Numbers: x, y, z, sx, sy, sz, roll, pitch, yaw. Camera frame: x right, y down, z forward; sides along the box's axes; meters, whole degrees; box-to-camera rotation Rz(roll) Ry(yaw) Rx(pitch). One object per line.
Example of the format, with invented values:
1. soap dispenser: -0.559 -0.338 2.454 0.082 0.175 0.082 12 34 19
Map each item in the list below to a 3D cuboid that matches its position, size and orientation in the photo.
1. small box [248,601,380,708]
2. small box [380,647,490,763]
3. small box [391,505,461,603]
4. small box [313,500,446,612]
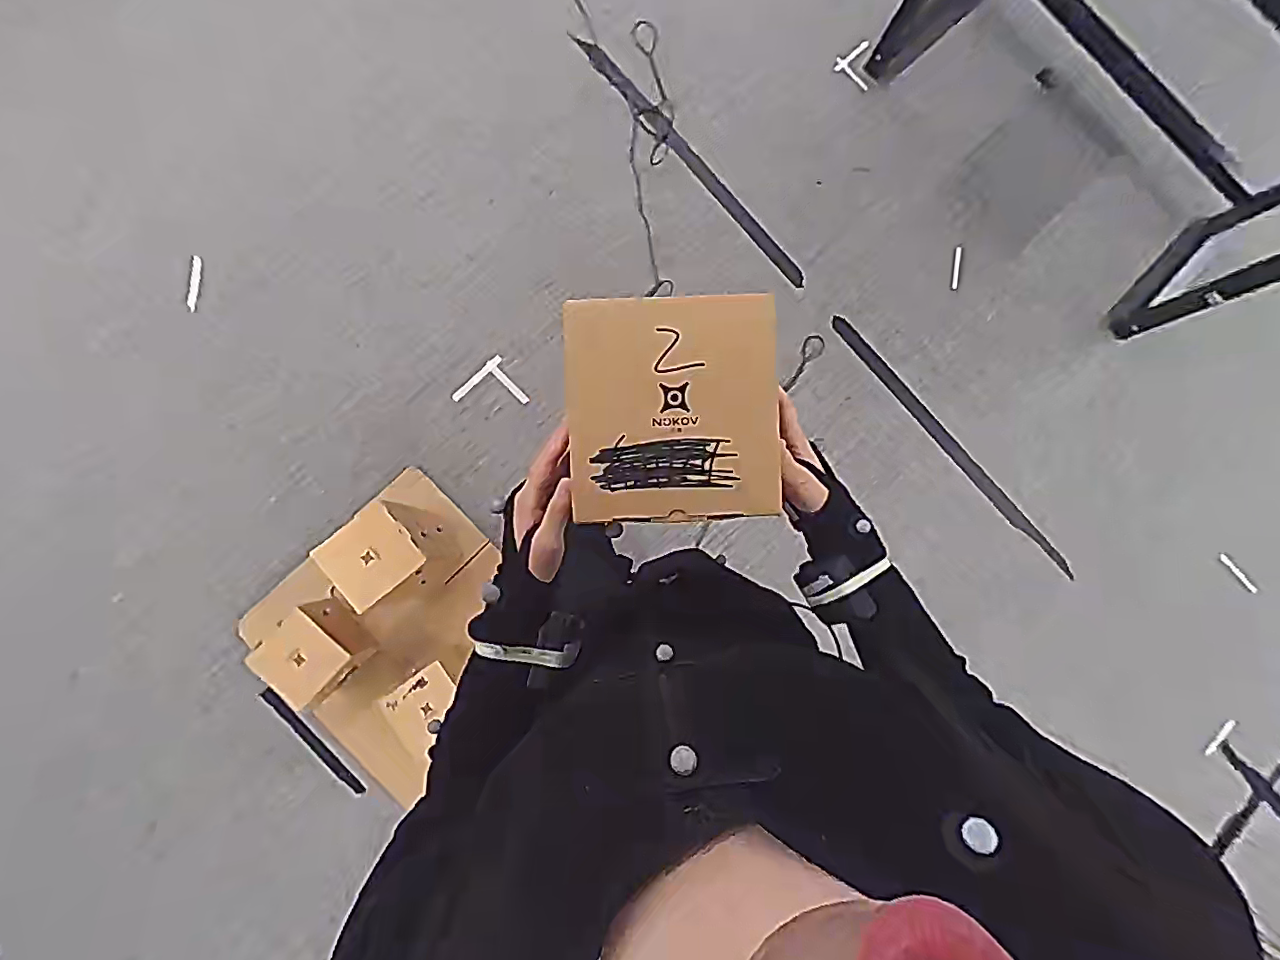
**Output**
1. small box: -0.779 0.412 1.311 0.179 0.176 0.168 41 83 0
2. small box: -0.489 0.538 1.323 0.168 0.176 0.179 -35 90 -8
3. small box: -0.576 0.183 1.352 0.179 0.176 0.168 -44 90 -9
4. small box: -0.561 0.165 1.191 0.179 0.176 0.168 -40 89 -9
